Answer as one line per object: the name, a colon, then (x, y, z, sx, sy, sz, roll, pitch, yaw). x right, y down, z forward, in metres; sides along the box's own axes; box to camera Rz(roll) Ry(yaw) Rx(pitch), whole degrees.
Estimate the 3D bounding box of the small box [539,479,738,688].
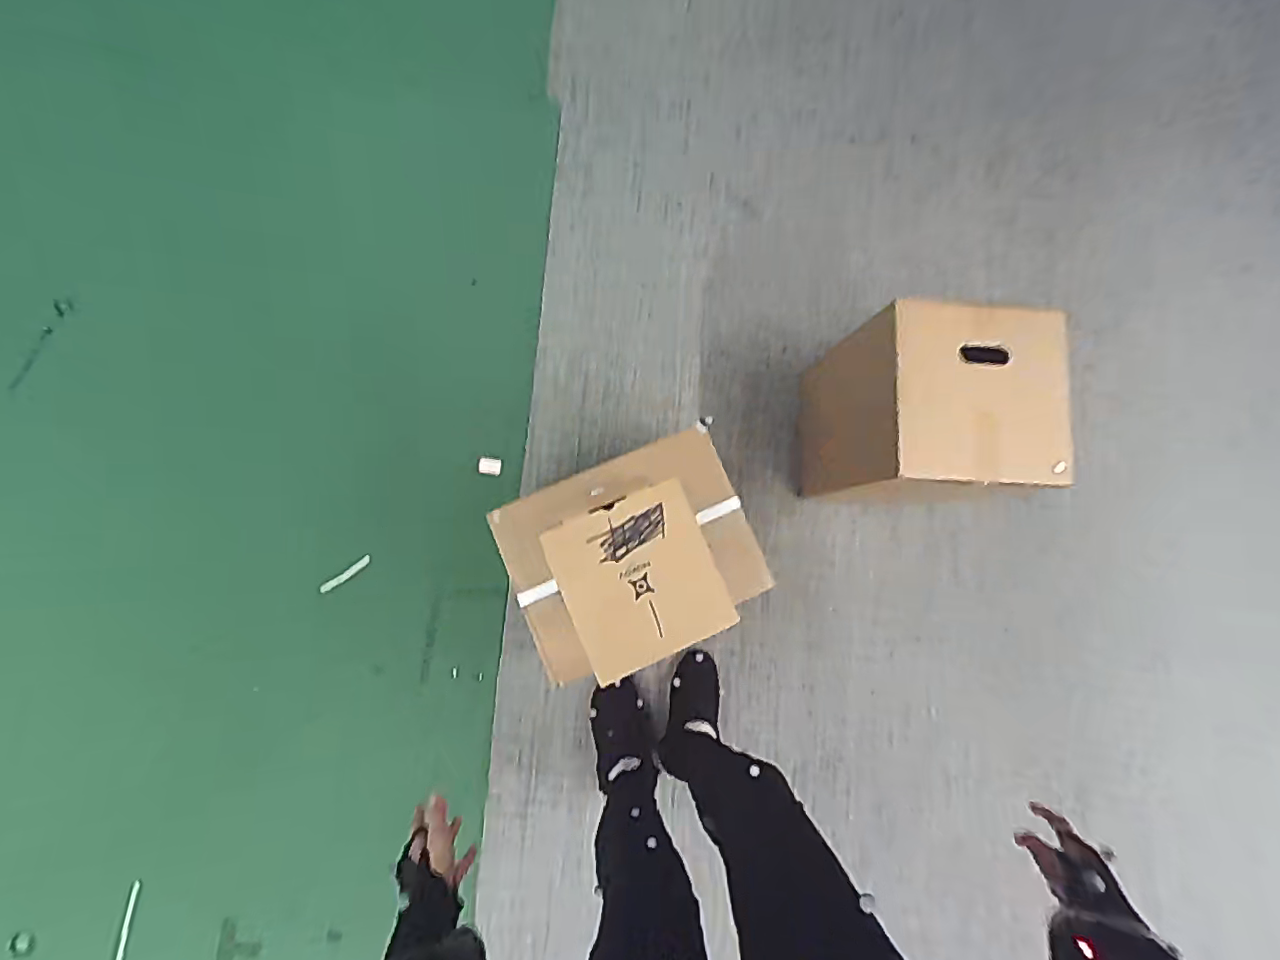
small box: (-0.008, 0.117, 0.650, 0.168, 0.176, 0.179, -23, 86, -6)
